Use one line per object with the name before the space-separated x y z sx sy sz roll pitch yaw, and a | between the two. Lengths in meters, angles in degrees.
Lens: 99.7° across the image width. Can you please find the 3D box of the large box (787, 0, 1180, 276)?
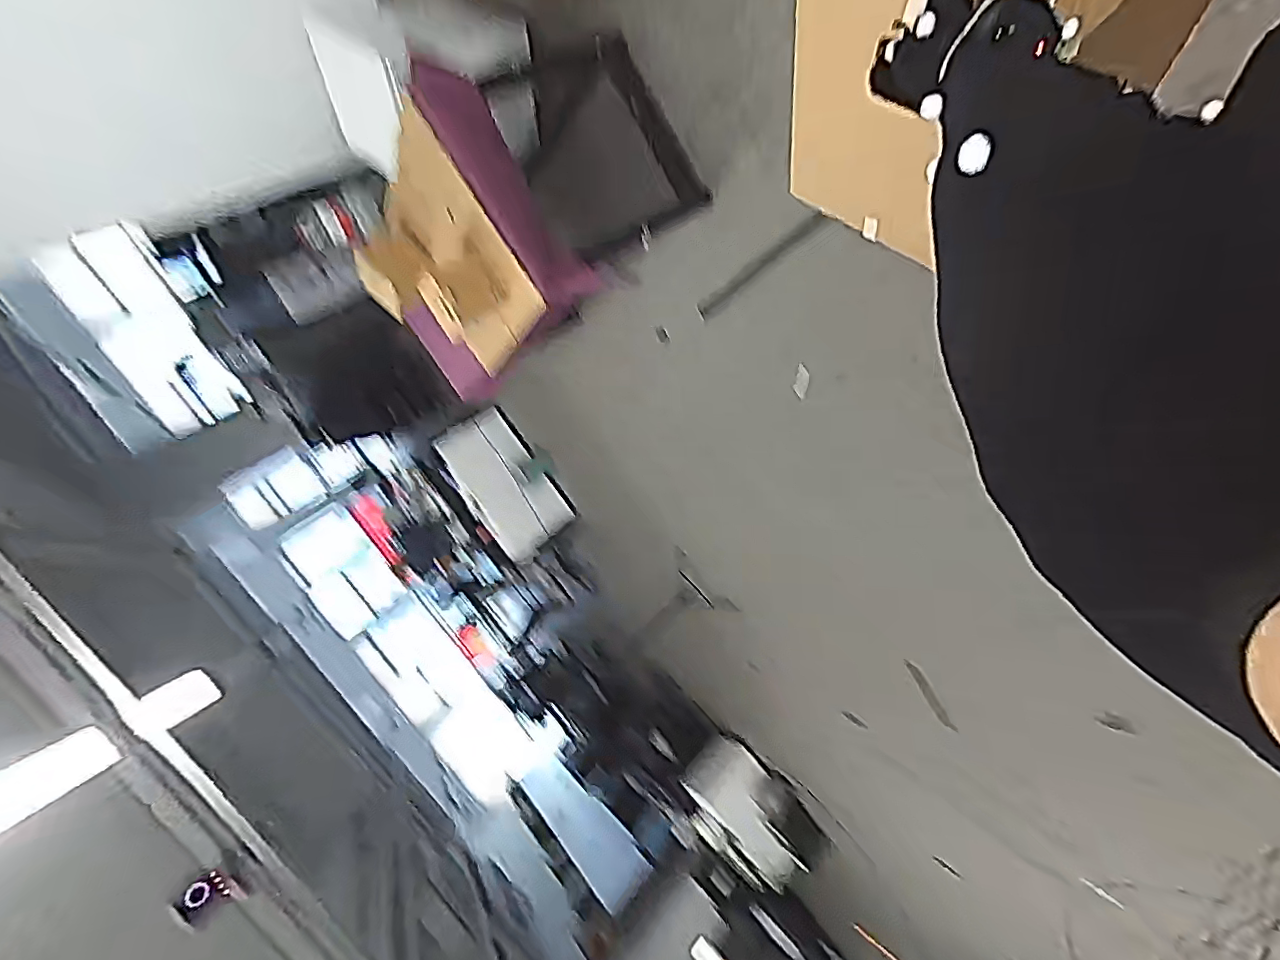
large box | 0.445 -0.568 0.709 0.320 0.408 0.320 43 175 24
